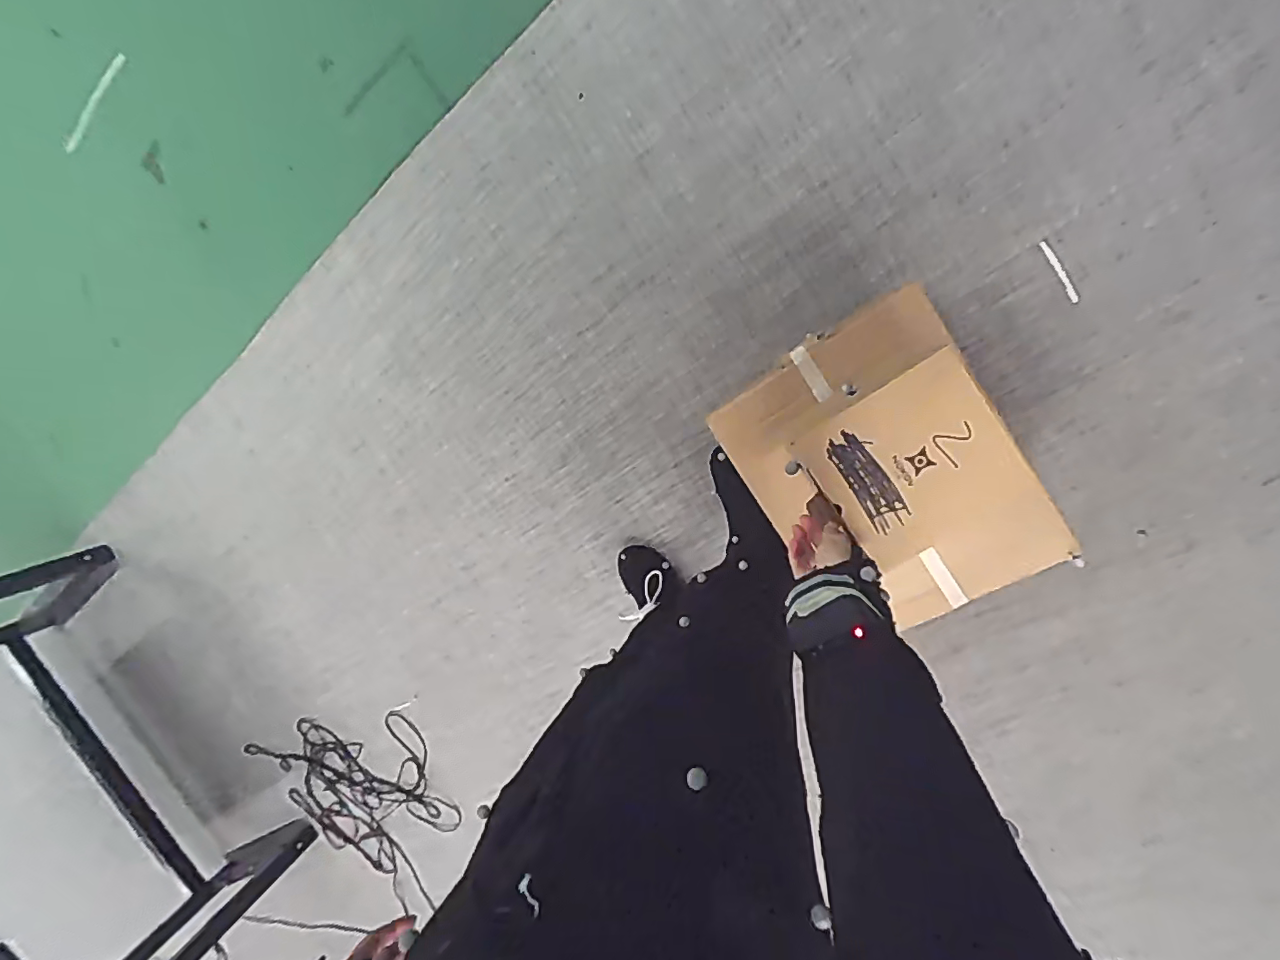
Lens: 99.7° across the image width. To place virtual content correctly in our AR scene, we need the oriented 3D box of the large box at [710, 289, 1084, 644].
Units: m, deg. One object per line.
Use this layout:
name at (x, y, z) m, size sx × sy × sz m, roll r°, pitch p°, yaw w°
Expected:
large box at (0.365, -0.035, 0.857) m, size 0.320 × 0.320 × 0.408 m, roll -33°, pitch 94°, yaw 23°
